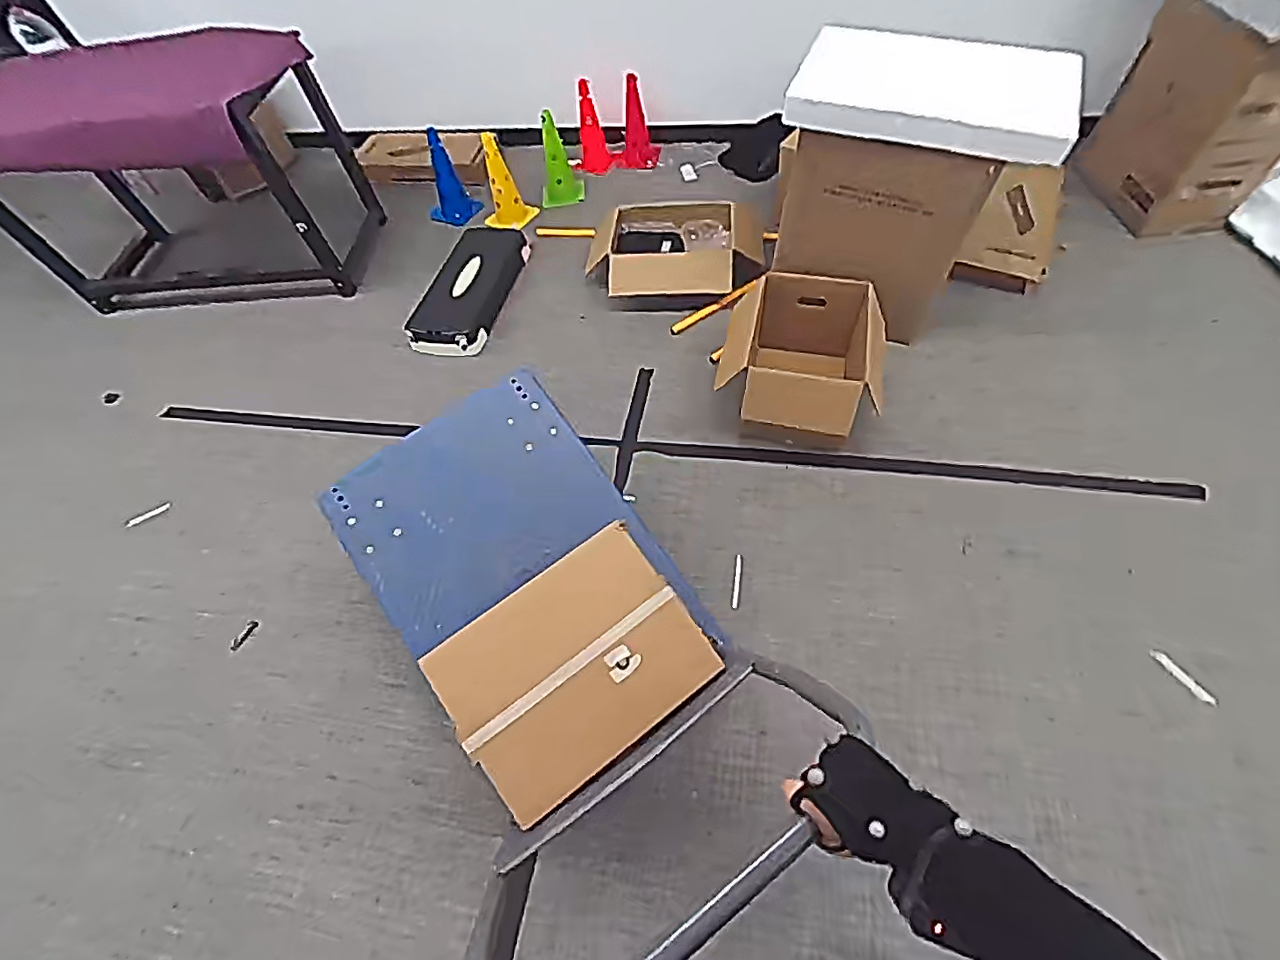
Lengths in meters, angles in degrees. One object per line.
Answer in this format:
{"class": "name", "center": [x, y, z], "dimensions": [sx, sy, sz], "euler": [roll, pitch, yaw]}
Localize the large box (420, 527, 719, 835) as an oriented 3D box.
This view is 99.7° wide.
{"class": "large box", "center": [-0.124, 0.354, 1.031], "dimensions": [0.408, 0.320, 0.320], "euler": [-35, 81, -13]}
